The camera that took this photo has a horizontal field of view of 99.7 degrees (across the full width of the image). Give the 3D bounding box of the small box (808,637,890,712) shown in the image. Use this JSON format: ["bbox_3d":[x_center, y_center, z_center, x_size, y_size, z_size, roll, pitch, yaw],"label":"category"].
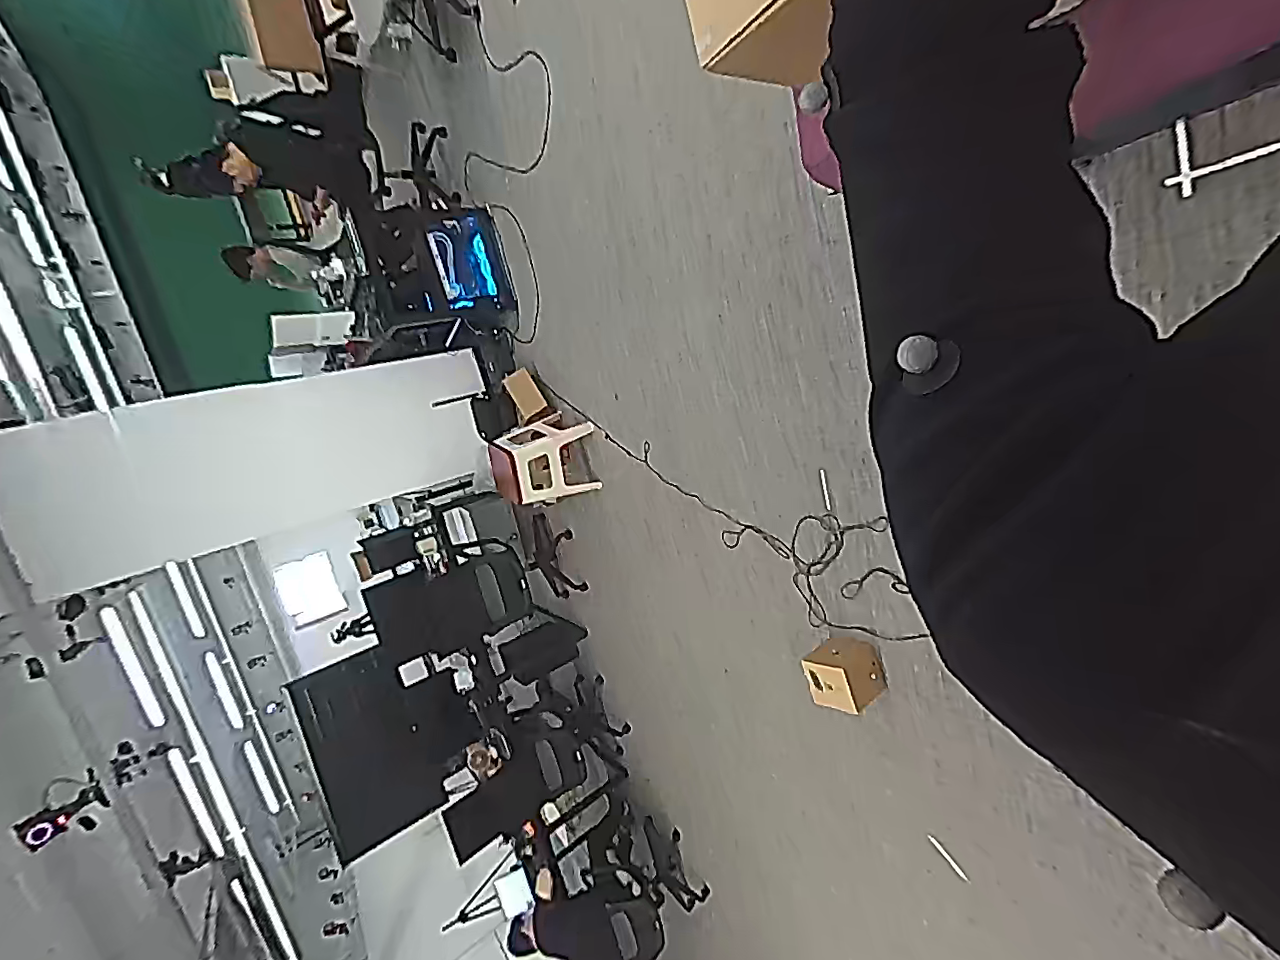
[{"bbox_3d":[0.710,0.651,1.833,0.179,0.176,0.168,-12,99,58],"label":"small box"}]
